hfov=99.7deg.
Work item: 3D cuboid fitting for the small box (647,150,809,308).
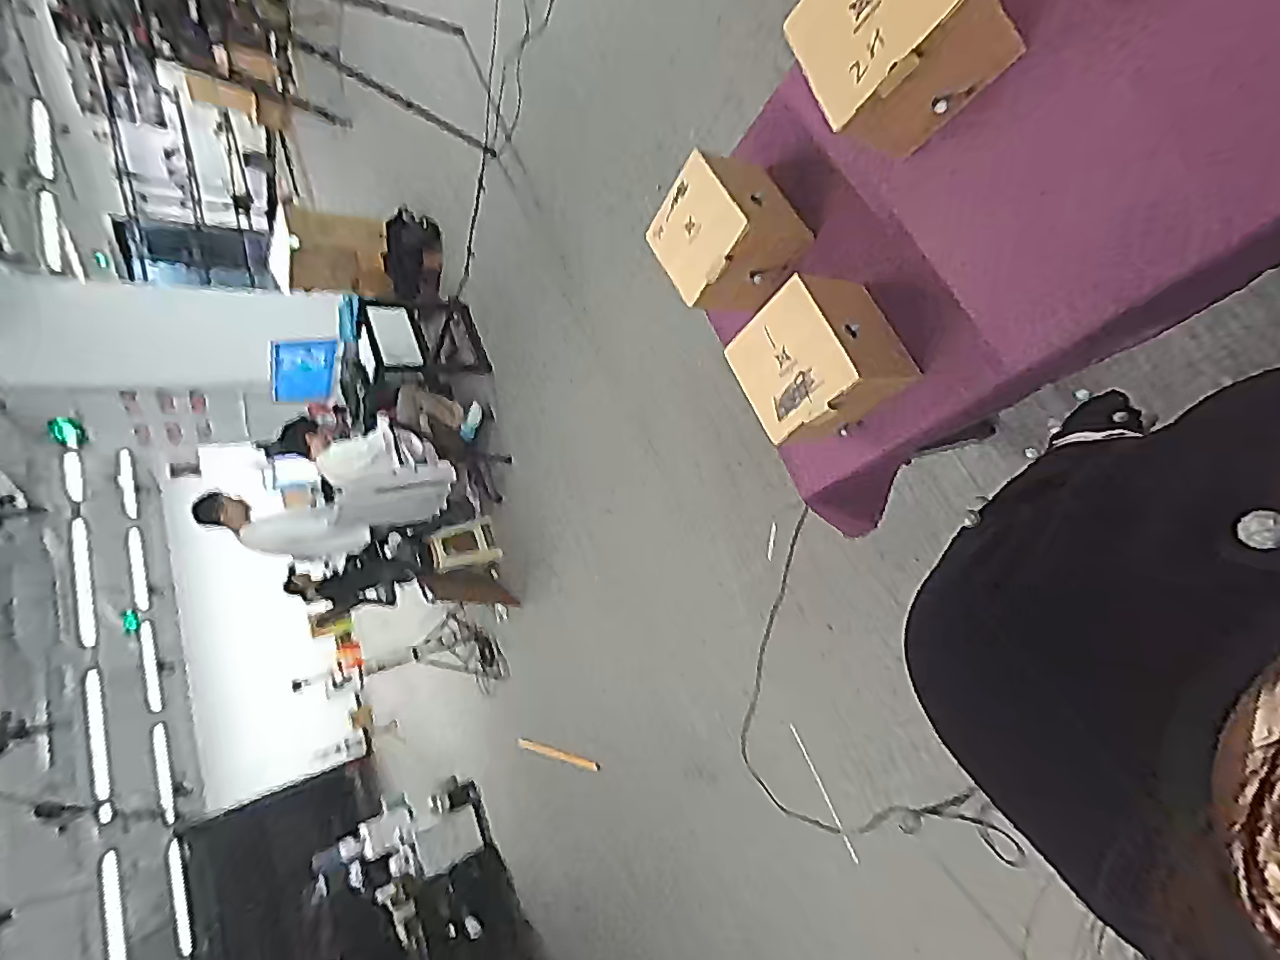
[{"bbox_3d":[0.148,-0.413,0.911,0.168,0.176,0.179,-48,62,45],"label":"small box"}]

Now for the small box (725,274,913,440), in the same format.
[{"bbox_3d":[0.268,-0.181,0.811,0.168,0.176,0.179,-44,62,47],"label":"small box"}]

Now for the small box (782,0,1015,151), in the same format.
[{"bbox_3d":[0.314,-0.547,0.664,0.168,0.176,0.179,-33,72,51],"label":"small box"}]
